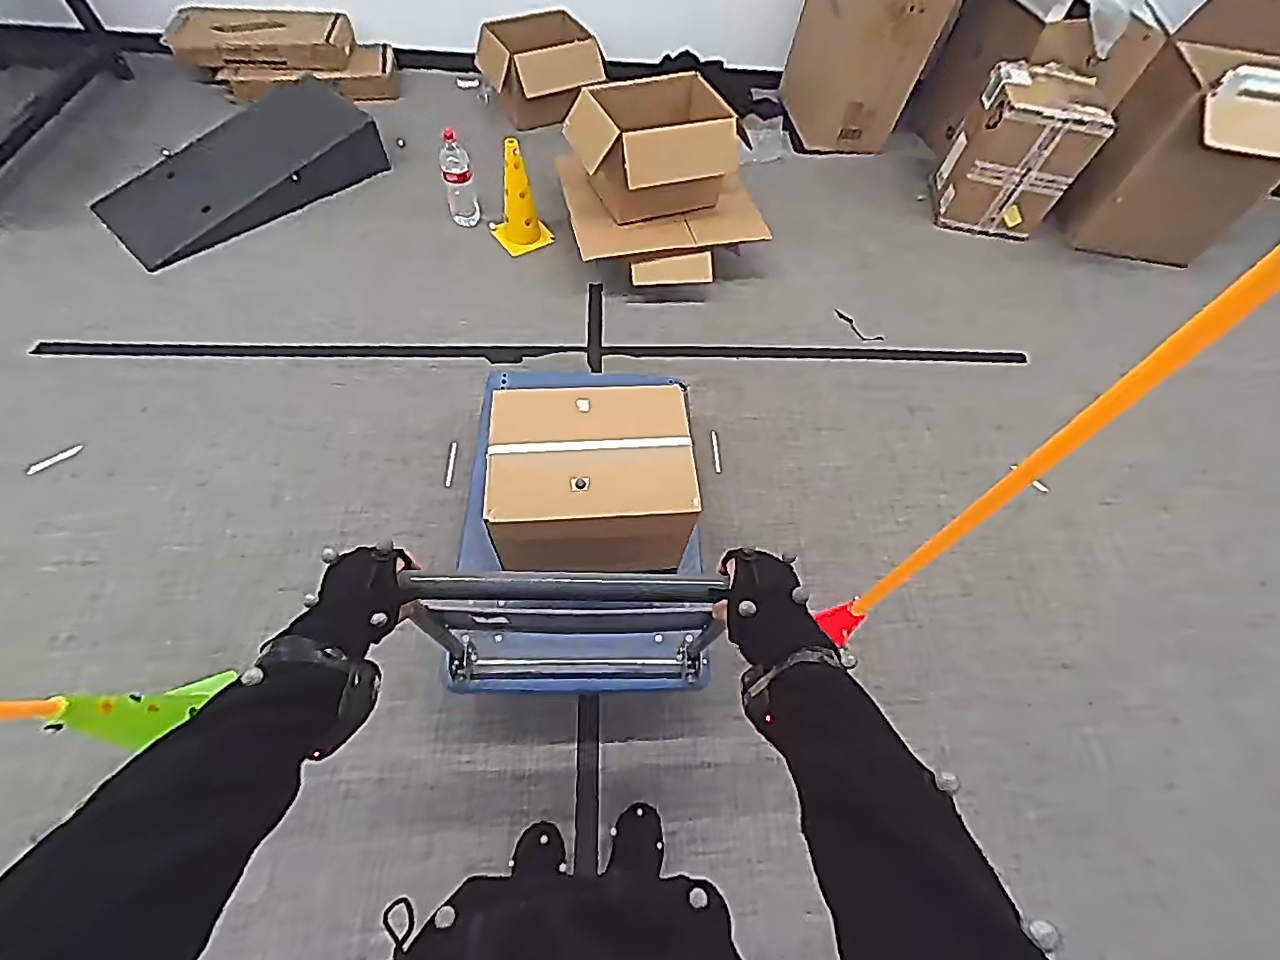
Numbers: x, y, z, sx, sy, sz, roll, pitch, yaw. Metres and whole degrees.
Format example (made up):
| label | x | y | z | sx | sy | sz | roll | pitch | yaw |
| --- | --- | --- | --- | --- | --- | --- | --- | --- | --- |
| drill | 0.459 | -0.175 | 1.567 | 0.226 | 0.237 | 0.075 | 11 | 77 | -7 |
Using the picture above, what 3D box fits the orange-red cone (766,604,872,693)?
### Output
| label | x | y | z | sx | sy | sz | roll | pitch | yaw |
| --- | --- | --- | --- | --- | --- | --- | --- | --- | --- |
| orange-red cone | 0.434 | 0.349 | 1.233 | 0.199 | 0.360 | 0.198 | 6 | 60 | -2 |
